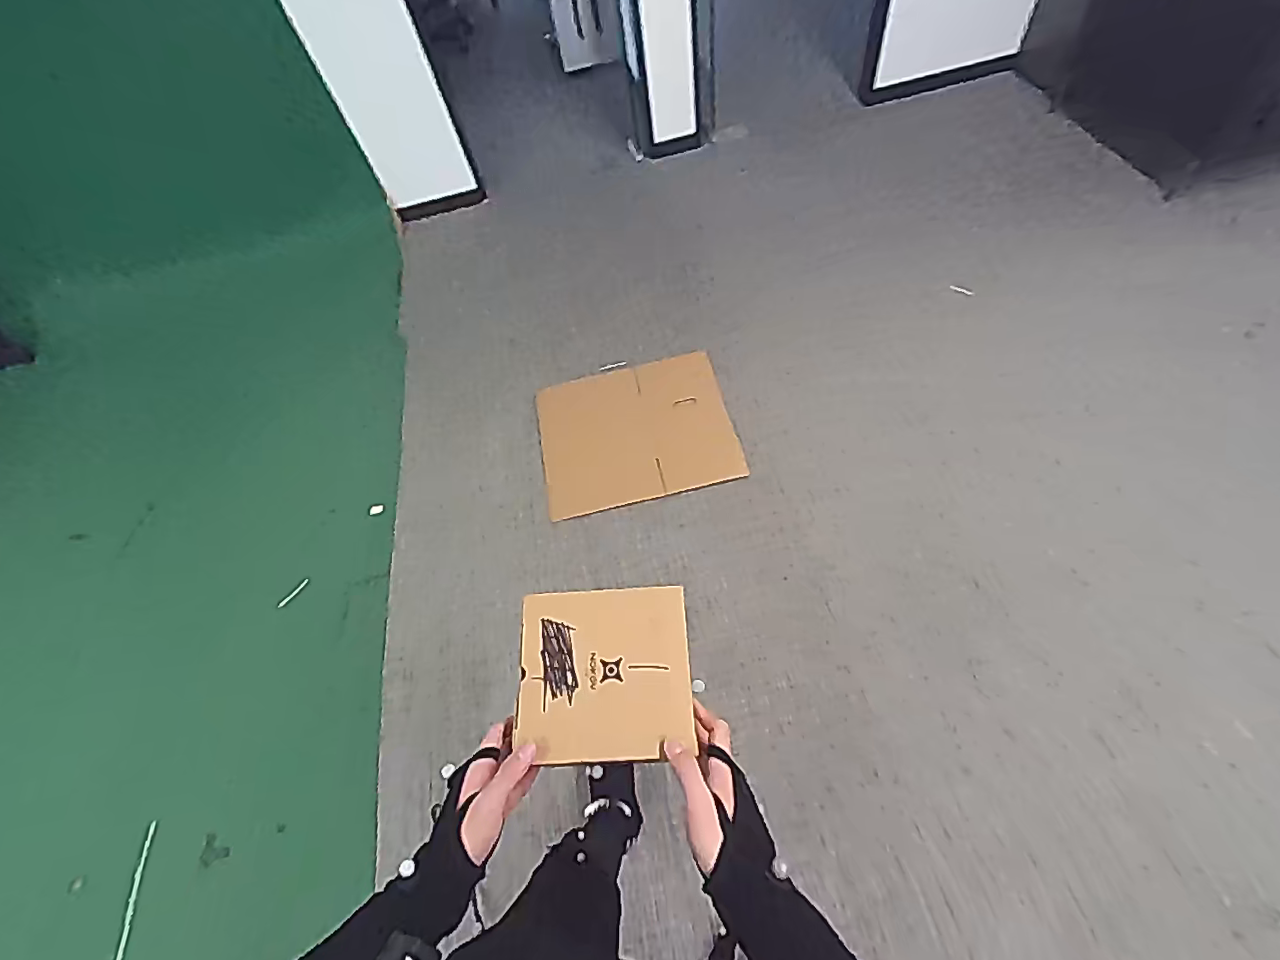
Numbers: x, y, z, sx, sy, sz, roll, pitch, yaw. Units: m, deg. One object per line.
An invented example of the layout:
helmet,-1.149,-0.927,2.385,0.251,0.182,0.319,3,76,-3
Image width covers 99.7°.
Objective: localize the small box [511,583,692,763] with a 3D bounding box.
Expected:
small box,-0.034,0.227,0.620,0.179,0.176,0.168,-4,62,3
